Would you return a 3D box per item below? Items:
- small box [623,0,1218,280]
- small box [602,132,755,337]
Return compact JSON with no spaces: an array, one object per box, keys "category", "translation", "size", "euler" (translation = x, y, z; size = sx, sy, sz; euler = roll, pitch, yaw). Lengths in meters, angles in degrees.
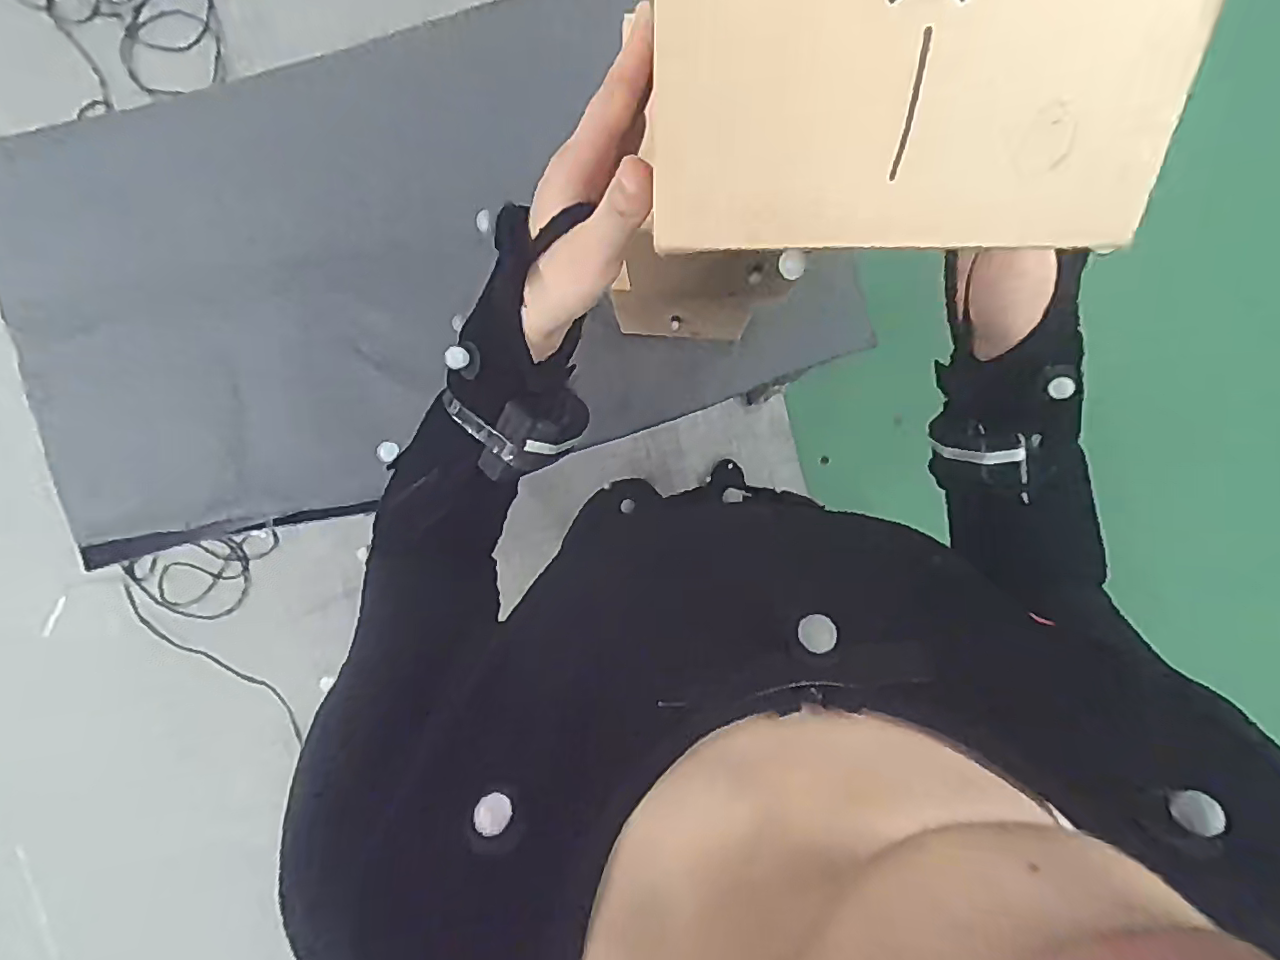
[{"category":"small box","translation":[0.081,-0.182,0.218],"size":[0.168,0.176,0.179],"euler":[2,116,3]},{"category":"small box","translation":[0.052,-0.282,0.658],"size":[0.168,0.176,0.179],"euler":[5,90,3]}]
